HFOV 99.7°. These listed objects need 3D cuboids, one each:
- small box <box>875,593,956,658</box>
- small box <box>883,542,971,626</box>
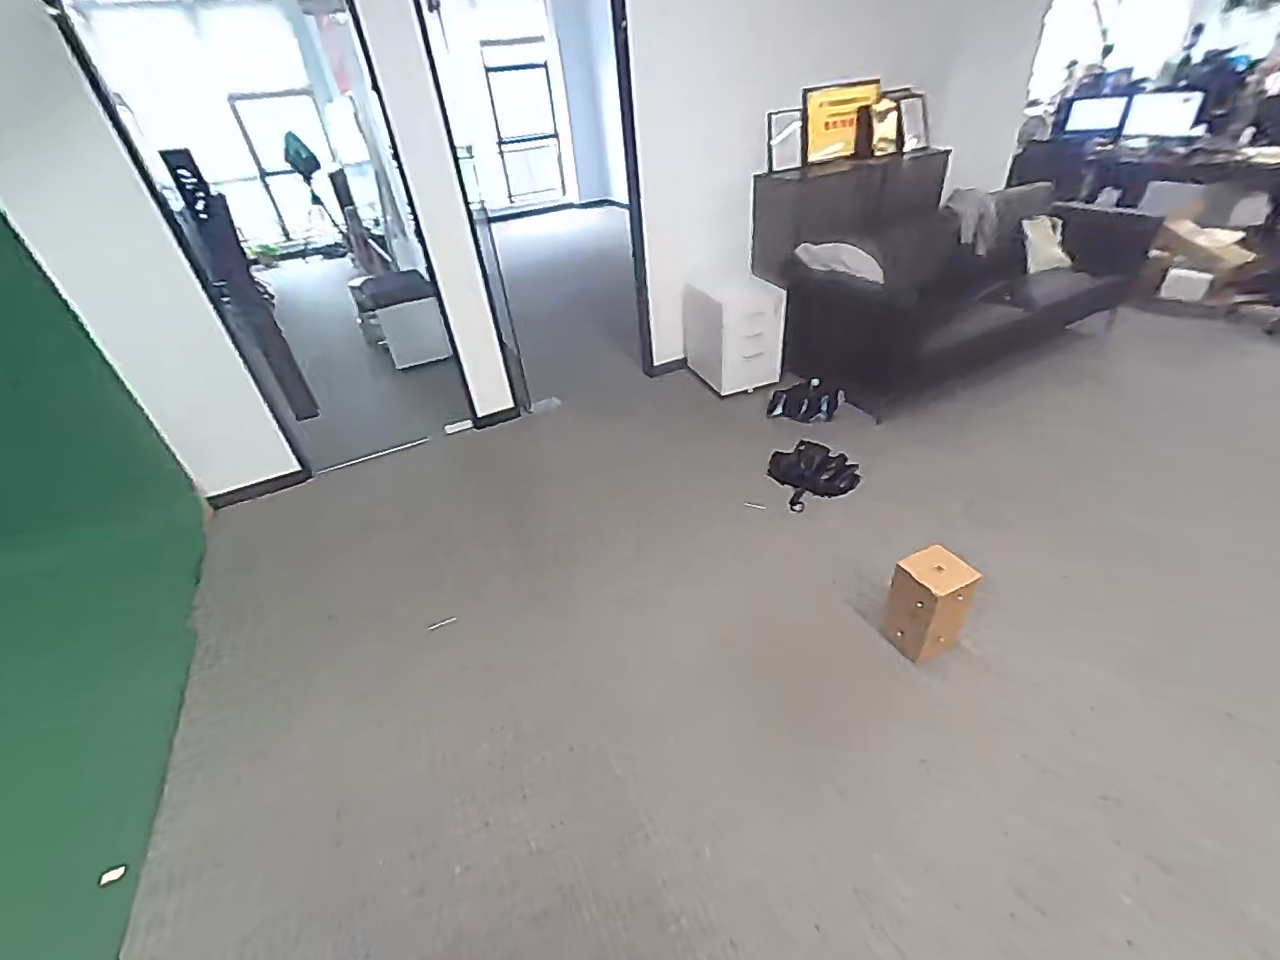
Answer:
[{"bbox_3d":[0.919,0.466,1.822,0.179,0.176,0.168,-20,38,-18],"label":"small box"},{"bbox_3d":[0.905,0.335,1.726,0.179,0.176,0.168,-18,39,-19],"label":"small box"}]
